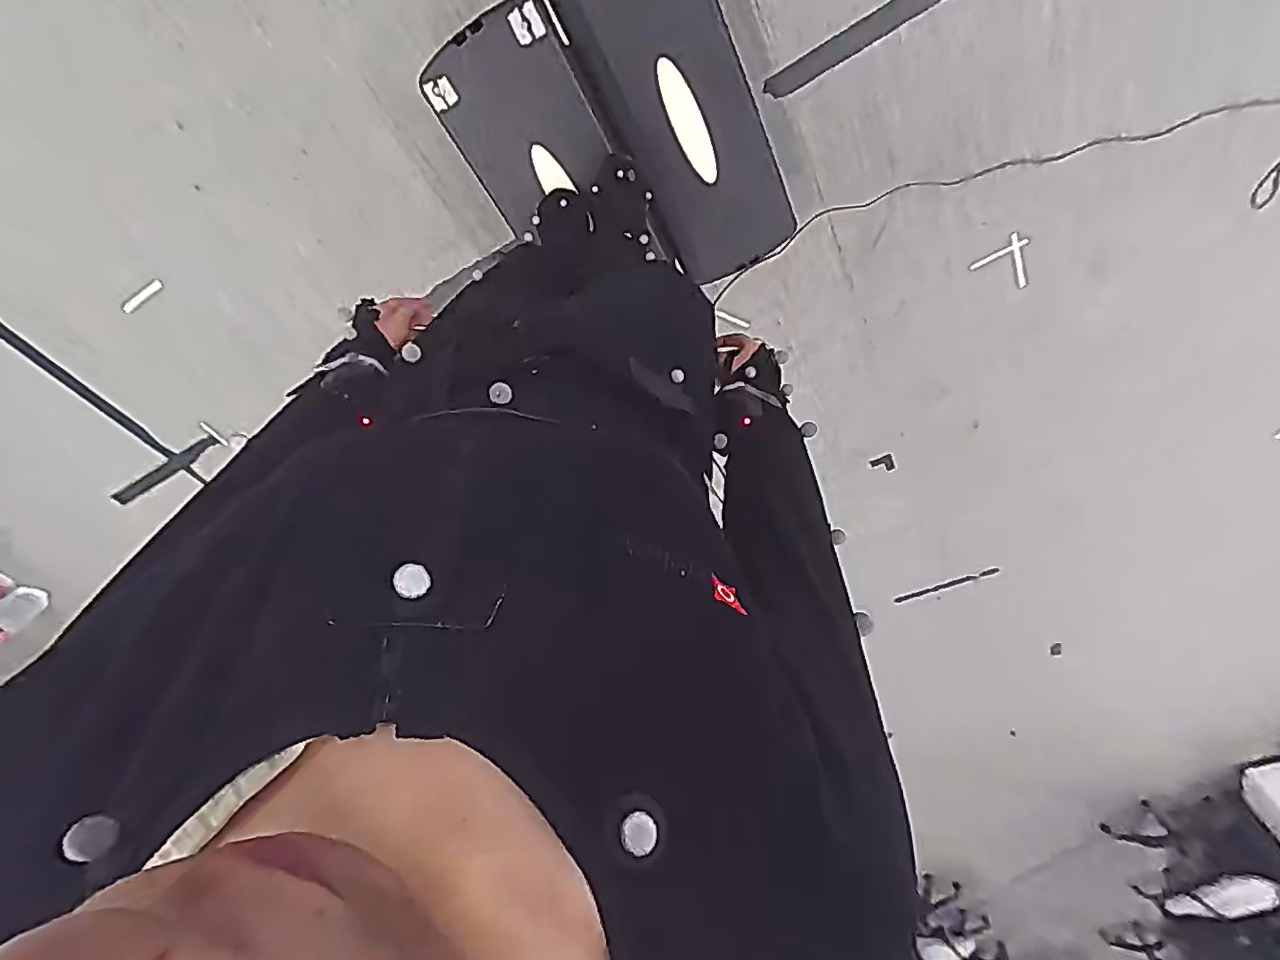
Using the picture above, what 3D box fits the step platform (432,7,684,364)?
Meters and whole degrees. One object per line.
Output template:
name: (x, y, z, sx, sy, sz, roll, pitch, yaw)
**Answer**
step platform: (-0.148, -0.608, 1.217, 0.286, 0.204, 0.684, -21, 122, 14)
